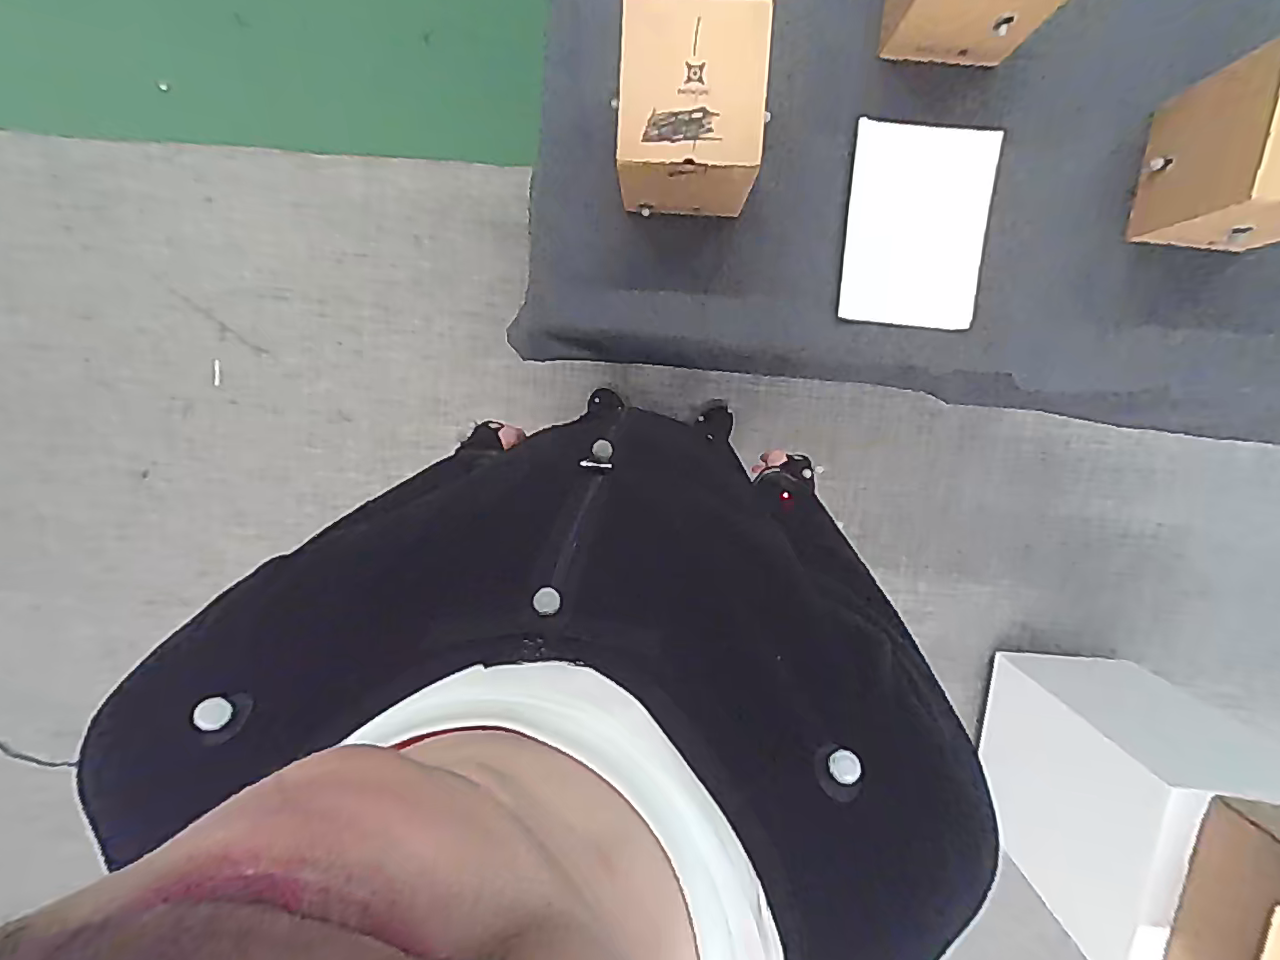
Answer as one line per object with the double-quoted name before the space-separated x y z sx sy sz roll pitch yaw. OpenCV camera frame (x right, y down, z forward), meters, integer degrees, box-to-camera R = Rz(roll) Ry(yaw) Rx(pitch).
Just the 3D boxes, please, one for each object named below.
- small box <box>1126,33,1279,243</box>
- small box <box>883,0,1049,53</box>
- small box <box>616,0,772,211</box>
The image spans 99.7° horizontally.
"small box" 0.766 -0.408 0.672 0.168 0.176 0.179 5 101 0
"small box" 0.404 -0.640 0.626 0.168 0.176 0.179 4 99 0
"small box" 0.060 -0.456 0.681 0.168 0.176 0.179 3 100 0
